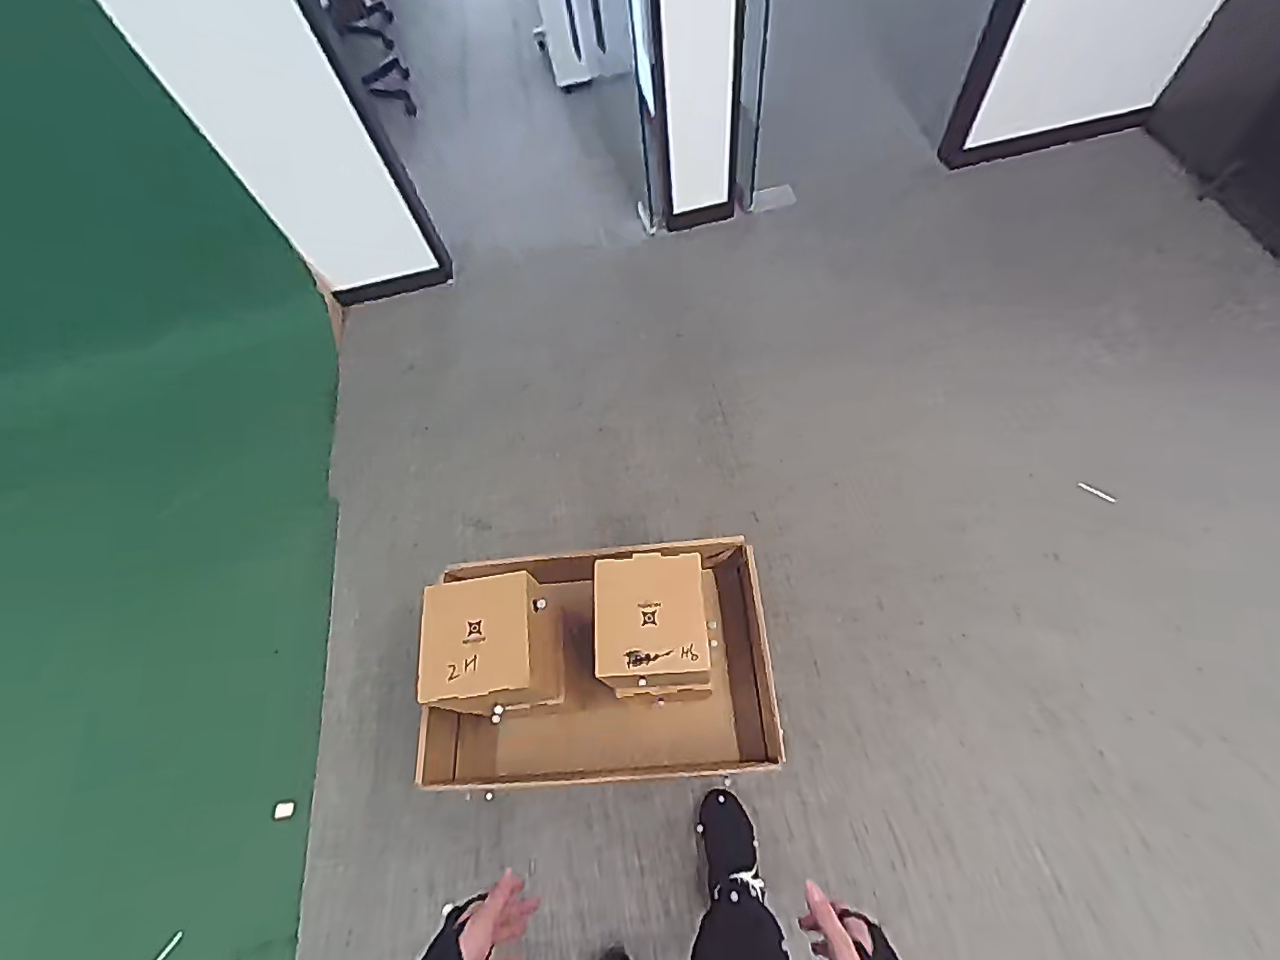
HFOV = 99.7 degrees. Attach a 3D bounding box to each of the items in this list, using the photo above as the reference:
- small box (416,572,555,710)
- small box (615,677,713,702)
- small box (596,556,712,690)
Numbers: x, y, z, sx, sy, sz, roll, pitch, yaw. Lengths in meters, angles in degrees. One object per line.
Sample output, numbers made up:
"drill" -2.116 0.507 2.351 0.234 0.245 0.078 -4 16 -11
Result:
"small box" -0.237 0.264 0.870 0.168 0.176 0.179 -8 64 2
"small box" 0.041 0.311 1.004 0.168 0.176 0.179 -6 65 3
"small box" 0.024 0.232 0.860 0.168 0.176 0.179 -4 64 4
